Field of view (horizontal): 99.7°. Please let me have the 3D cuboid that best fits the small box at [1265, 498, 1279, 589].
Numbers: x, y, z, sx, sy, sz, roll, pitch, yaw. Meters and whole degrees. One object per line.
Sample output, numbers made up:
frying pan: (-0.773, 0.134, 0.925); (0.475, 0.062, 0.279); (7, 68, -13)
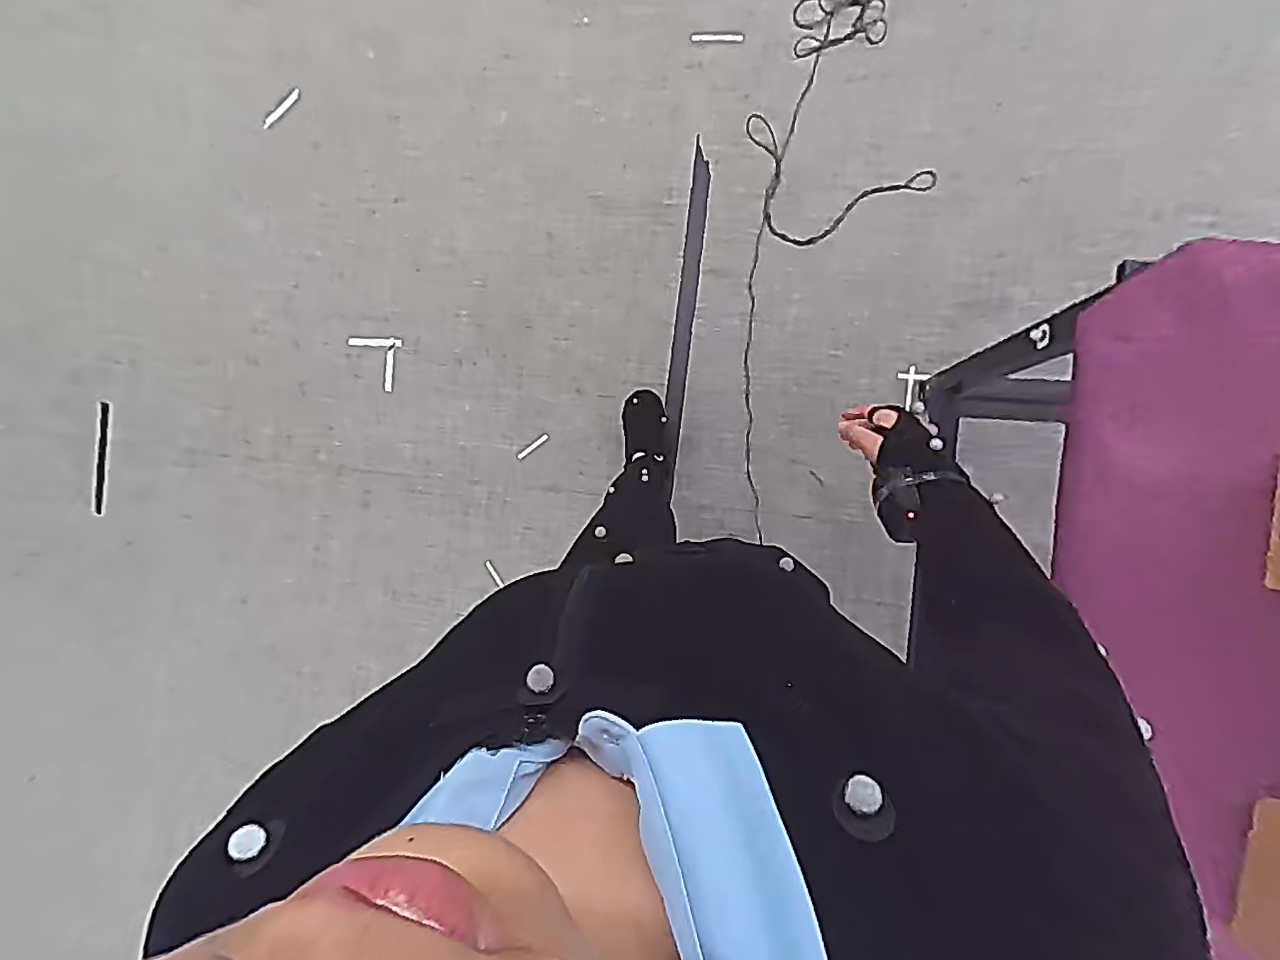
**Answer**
small box: (0.826, 0.058, 0.557); (0.179, 0.176, 0.168); (6, 91, 8)
